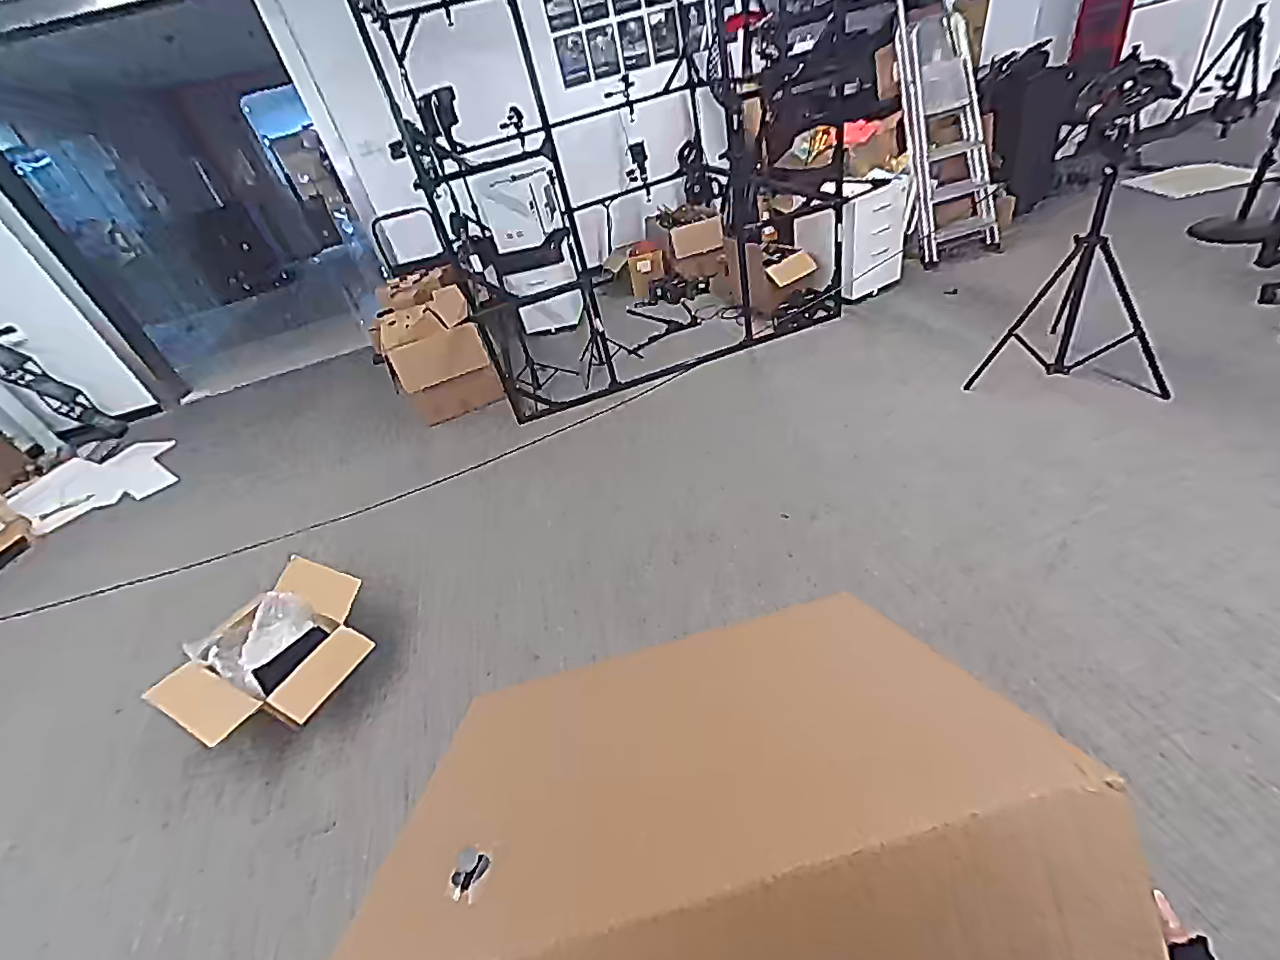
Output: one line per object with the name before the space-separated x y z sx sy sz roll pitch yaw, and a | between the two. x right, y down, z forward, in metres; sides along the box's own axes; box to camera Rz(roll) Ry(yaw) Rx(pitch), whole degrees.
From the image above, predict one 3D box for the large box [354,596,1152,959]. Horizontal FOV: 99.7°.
large box | 0.073 0.328 0.426 0.408 0.320 0.320 -16 6 -1
